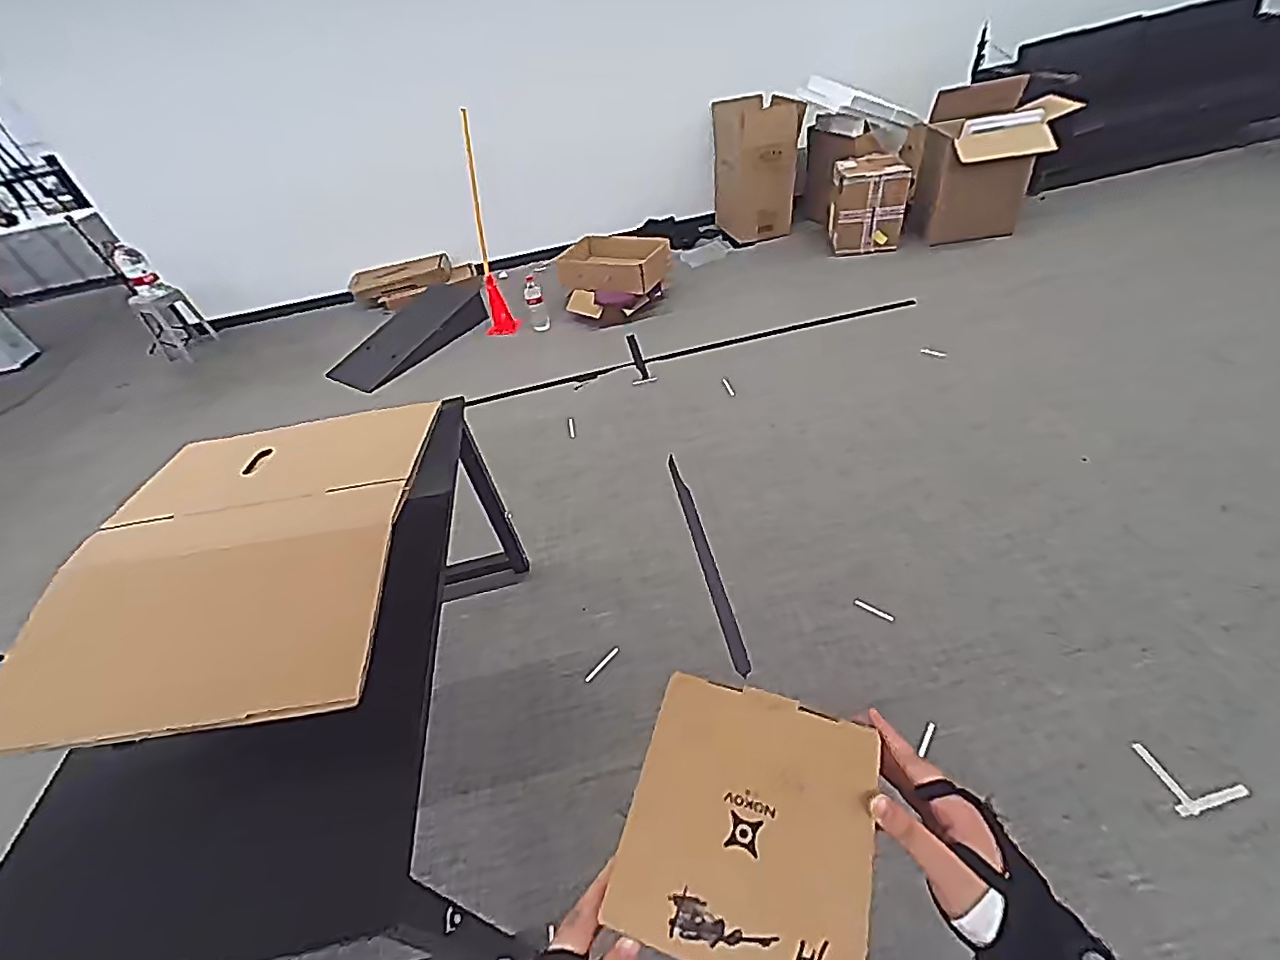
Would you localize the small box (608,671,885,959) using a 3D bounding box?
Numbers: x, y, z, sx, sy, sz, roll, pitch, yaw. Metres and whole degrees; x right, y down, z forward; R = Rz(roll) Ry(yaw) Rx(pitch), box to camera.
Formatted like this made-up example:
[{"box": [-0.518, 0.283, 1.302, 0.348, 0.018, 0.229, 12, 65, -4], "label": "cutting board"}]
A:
[{"box": [0.091, 0.290, 0.444, 0.168, 0.176, 0.179, 10, 53, 19], "label": "small box"}]
